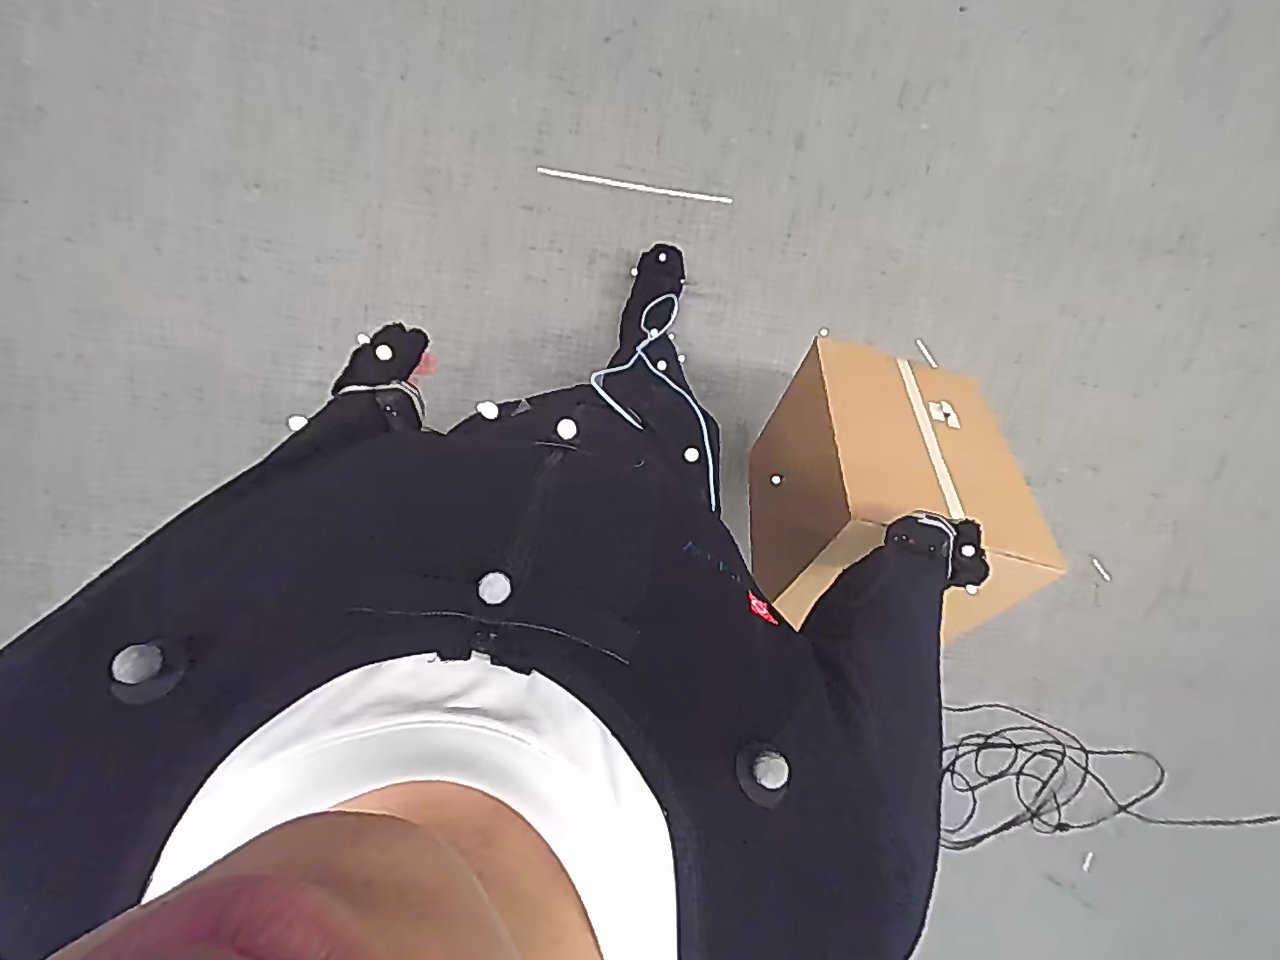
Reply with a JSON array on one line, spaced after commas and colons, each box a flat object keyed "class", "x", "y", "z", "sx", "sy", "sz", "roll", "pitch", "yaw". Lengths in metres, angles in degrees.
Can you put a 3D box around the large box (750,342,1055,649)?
[{"class": "large box", "x": 0.399, "y": 0.029, "z": 0.950, "sx": 0.320, "sy": 0.408, "sz": 0.320, "roll": 14, "pitch": 138, "yaw": -7}]
